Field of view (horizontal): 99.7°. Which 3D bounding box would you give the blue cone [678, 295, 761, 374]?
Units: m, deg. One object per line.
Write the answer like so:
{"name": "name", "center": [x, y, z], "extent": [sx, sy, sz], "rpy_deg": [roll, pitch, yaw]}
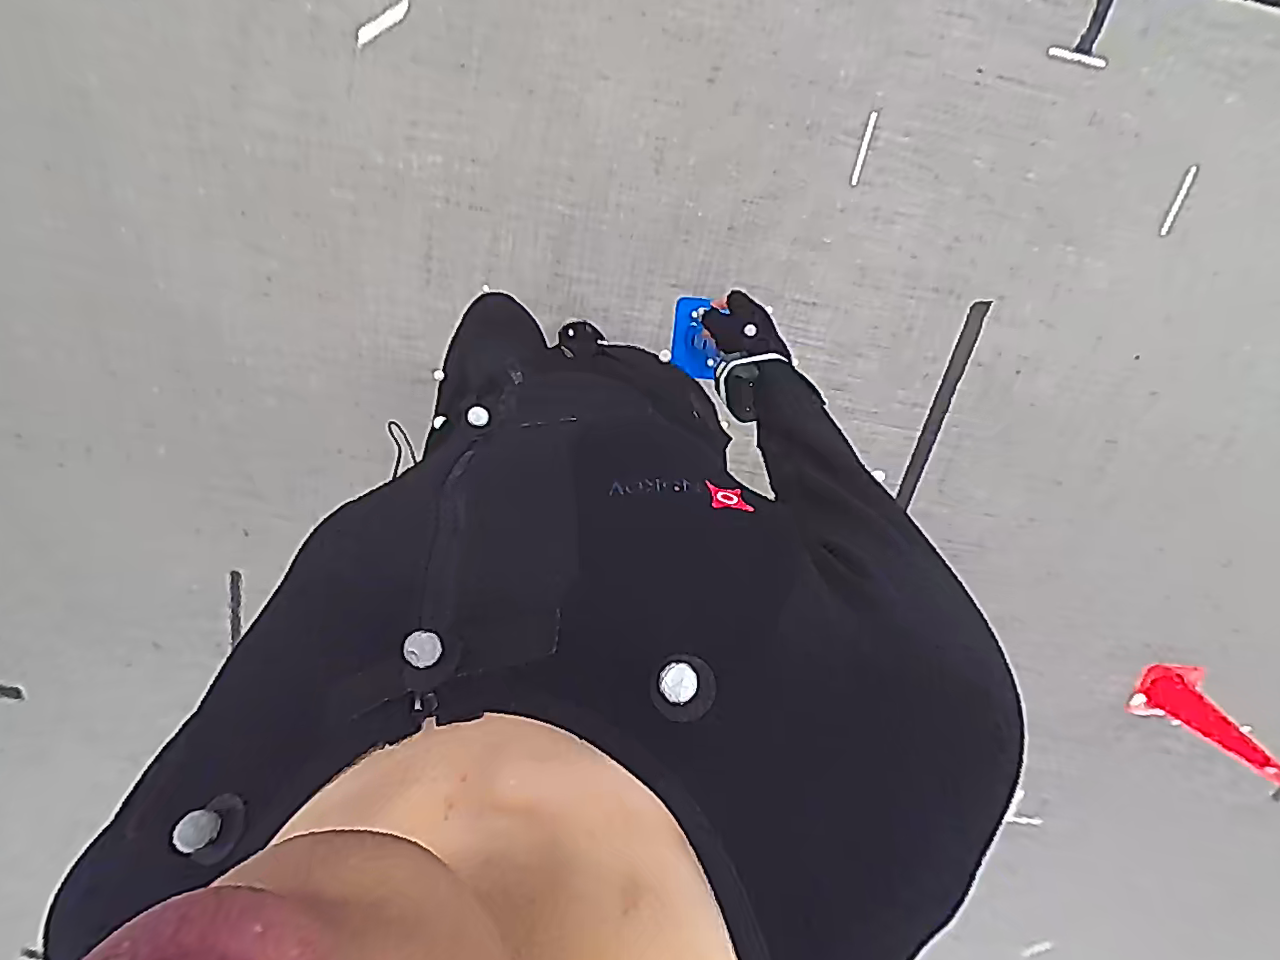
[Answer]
{"name": "blue cone", "center": [0.200, -0.311, 1.211], "extent": [0.192, 0.380, 0.193], "rpy_deg": [5, 109, -4]}

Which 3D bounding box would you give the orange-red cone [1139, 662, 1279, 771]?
{"name": "orange-red cone", "center": [1.790, 0.748, 1.641], "extent": [0.198, 0.360, 0.199], "rpy_deg": [5, 108, -4]}
